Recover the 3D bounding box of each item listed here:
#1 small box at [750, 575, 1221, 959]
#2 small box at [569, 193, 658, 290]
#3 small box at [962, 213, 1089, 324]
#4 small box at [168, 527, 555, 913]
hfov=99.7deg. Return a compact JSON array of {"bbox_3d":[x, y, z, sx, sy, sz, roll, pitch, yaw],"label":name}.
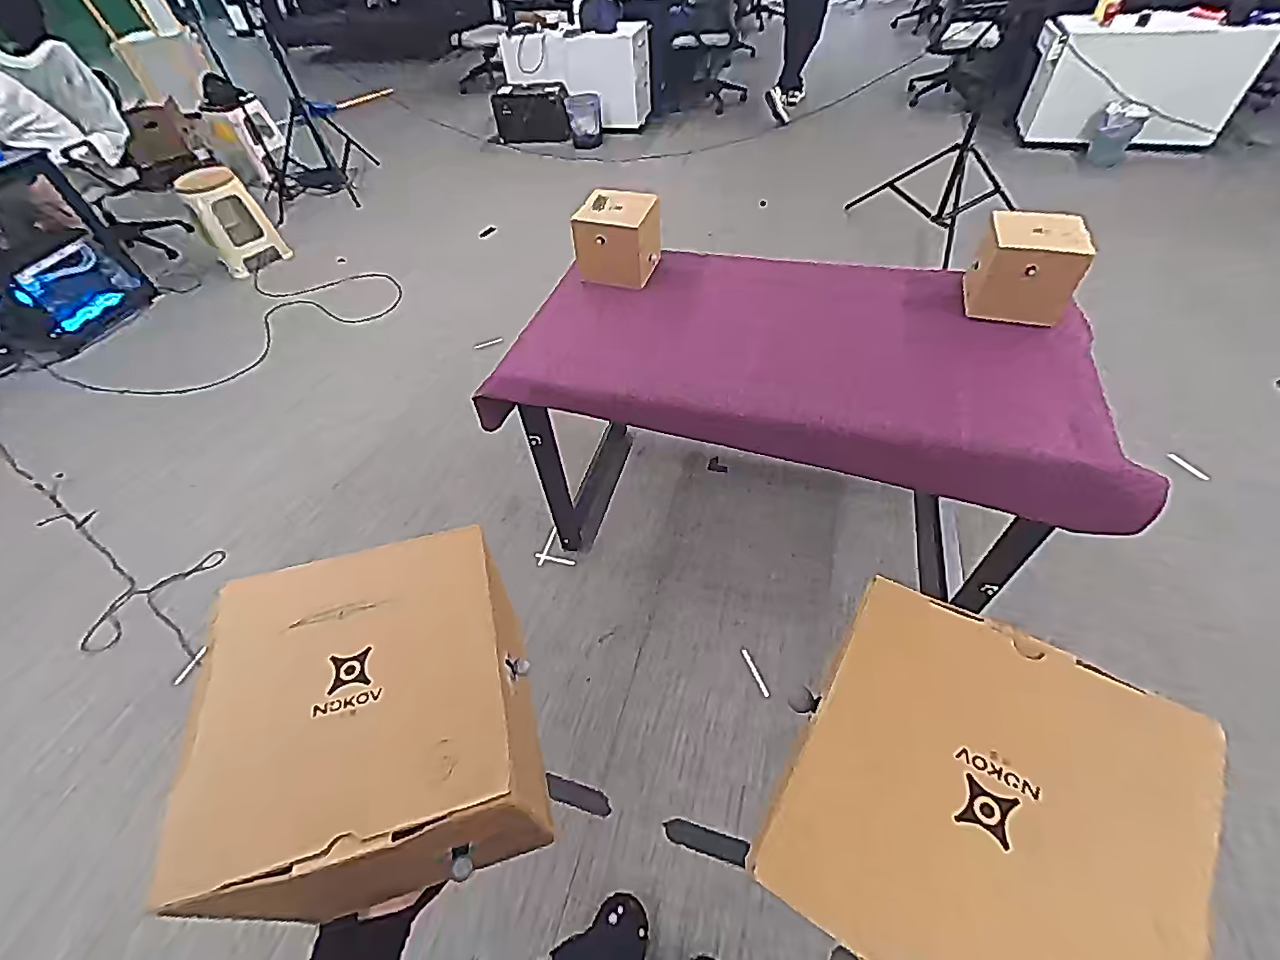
[{"bbox_3d":[0.177,0.195,0.321,0.168,0.176,0.179,23,62,24],"label":"small box"},{"bbox_3d":[-0.060,-0.610,1.388,0.179,0.176,0.168,13,54,14],"label":"small box"},{"bbox_3d":[0.830,-0.463,1.189,0.179,0.176,0.168,12,53,13],"label":"small box"},{"bbox_3d":[-0.160,0.165,0.371,0.168,0.176,0.179,-13,50,-11],"label":"small box"}]
